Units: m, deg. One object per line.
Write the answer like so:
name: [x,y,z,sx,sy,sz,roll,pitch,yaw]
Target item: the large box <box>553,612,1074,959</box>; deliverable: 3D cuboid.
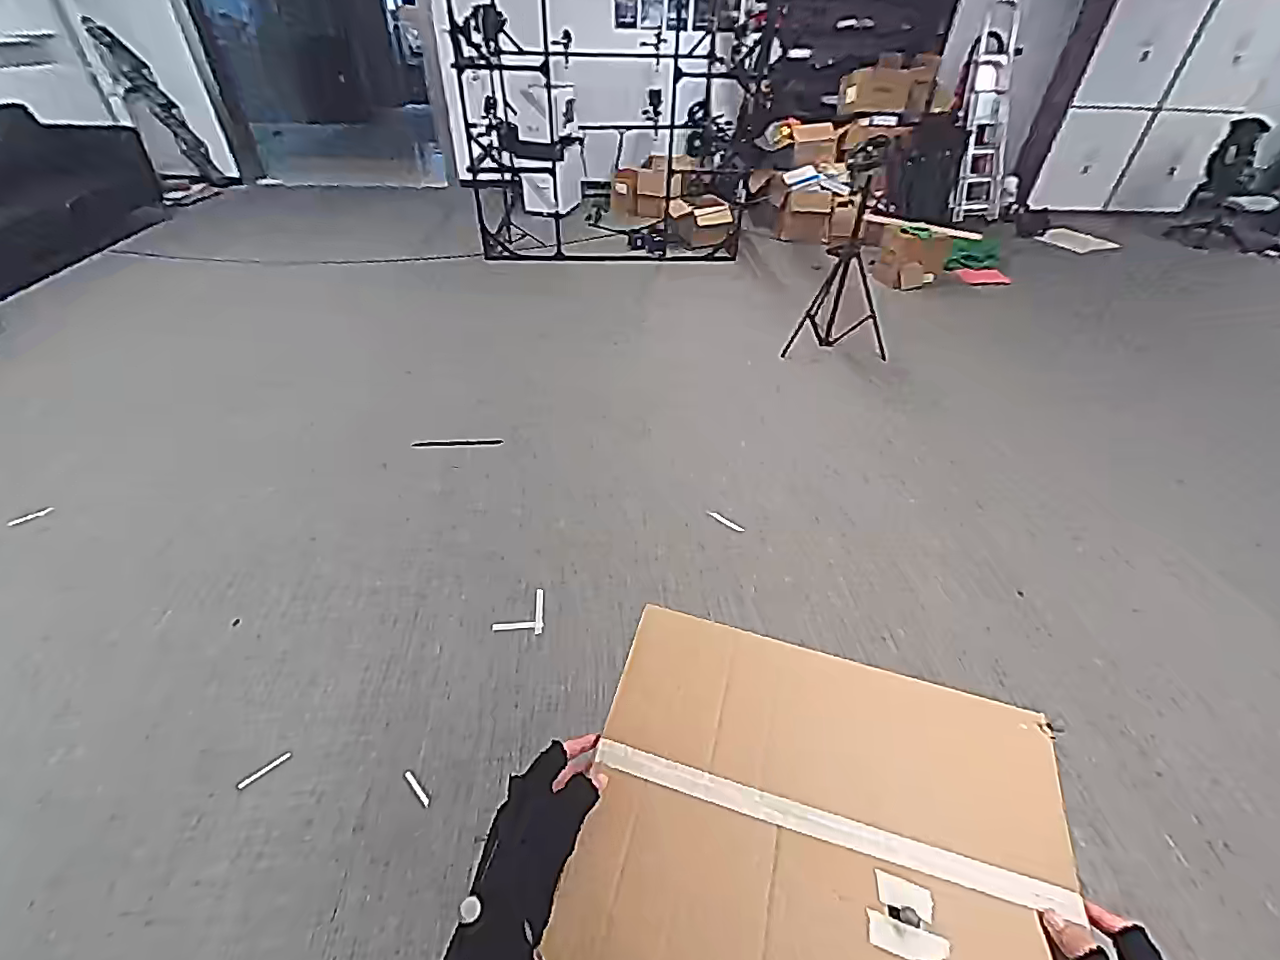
large box: [0.156,0.397,0.593,0.408,0.320,0.320,14,51,10]
